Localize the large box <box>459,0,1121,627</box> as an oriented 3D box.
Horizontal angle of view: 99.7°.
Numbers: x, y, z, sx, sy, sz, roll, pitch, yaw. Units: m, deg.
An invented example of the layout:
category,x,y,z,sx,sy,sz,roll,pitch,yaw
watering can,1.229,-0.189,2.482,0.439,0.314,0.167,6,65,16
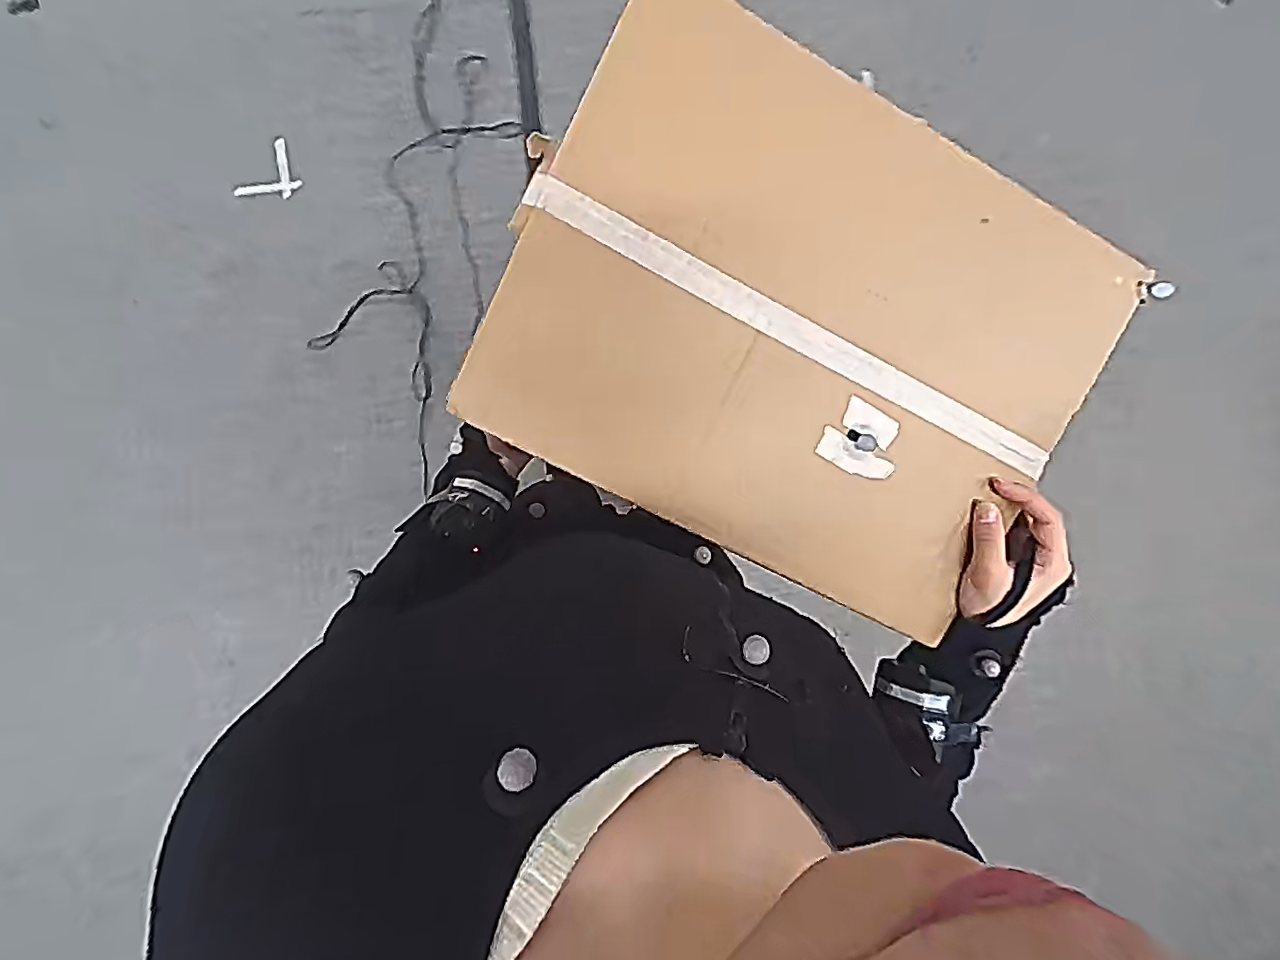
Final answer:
category,x,y,z,sx,sy,sz,roll,pitch,yaw
large box,0.099,-0.119,0.529,0.408,0.320,0.320,25,97,-9
